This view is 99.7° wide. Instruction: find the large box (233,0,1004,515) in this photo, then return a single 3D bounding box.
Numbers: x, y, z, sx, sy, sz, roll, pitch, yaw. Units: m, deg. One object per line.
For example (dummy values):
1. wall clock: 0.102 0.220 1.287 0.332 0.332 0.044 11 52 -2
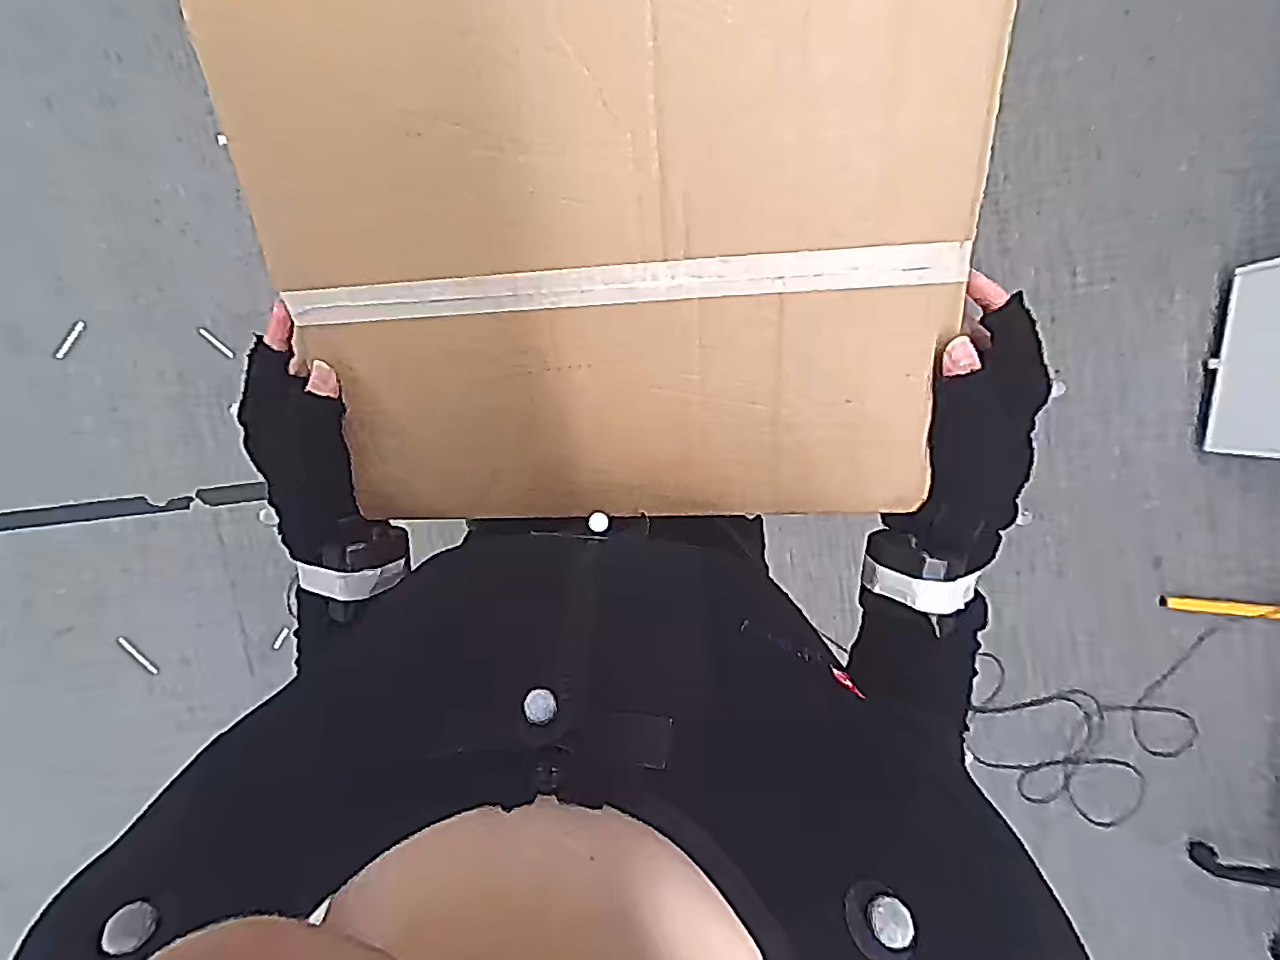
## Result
1. large box: -0.002 -0.181 0.463 0.408 0.320 0.320 -1 117 7
